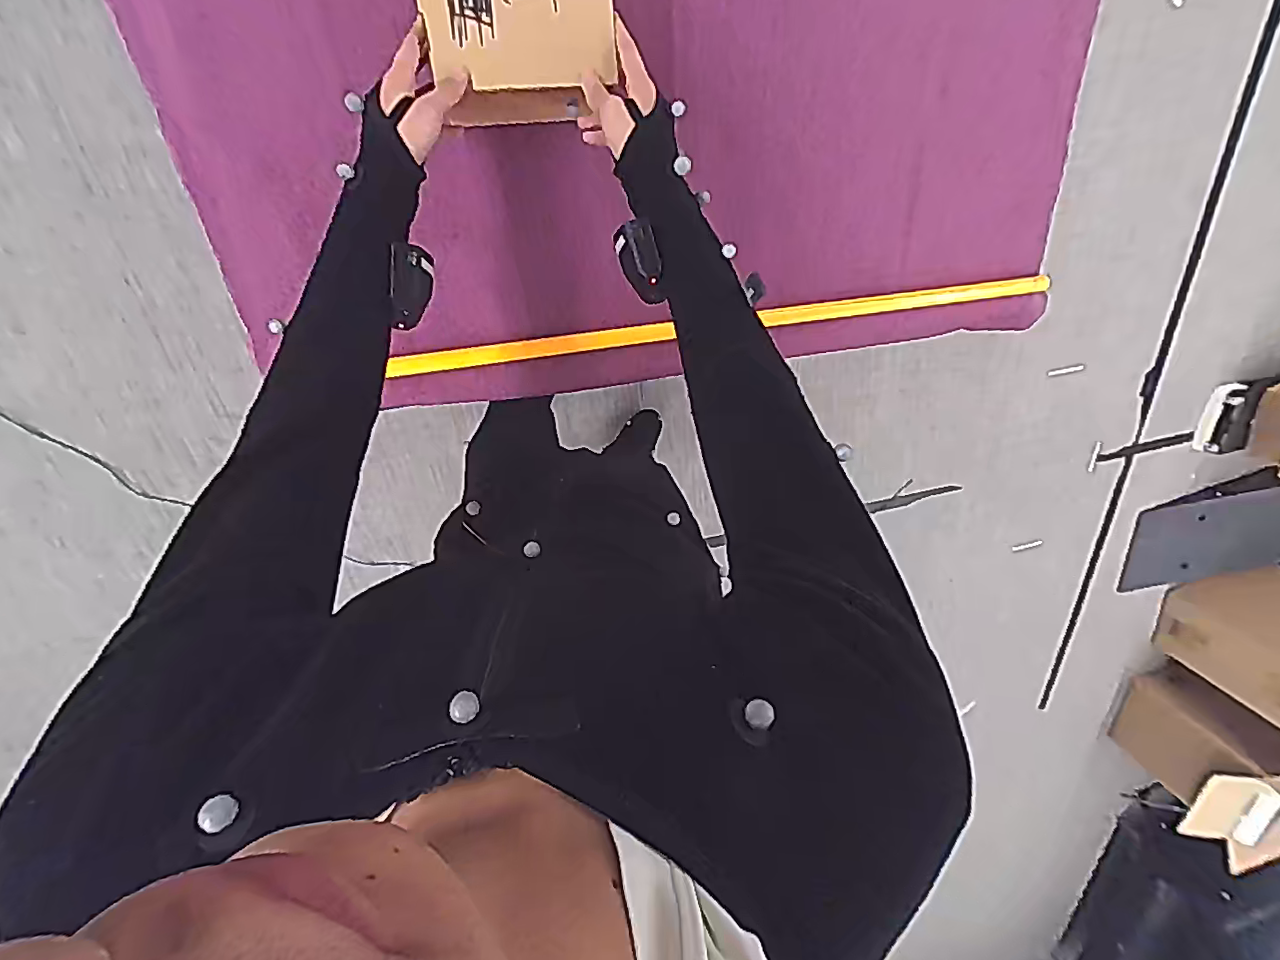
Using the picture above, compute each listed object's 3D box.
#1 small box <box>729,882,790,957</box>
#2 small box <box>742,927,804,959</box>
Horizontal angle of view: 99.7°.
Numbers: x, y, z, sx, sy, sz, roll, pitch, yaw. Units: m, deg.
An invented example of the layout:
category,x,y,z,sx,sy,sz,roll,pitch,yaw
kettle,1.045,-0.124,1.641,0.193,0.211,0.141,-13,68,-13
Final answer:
category,x,y,z,sx,sy,sz,roll,pitch,yaw
small box,0.475,1.770,2.183,0.179,0.176,0.168,-1,117,-13
small box,0.506,1.831,2.034,0.179,0.176,0.168,3,116,-15
